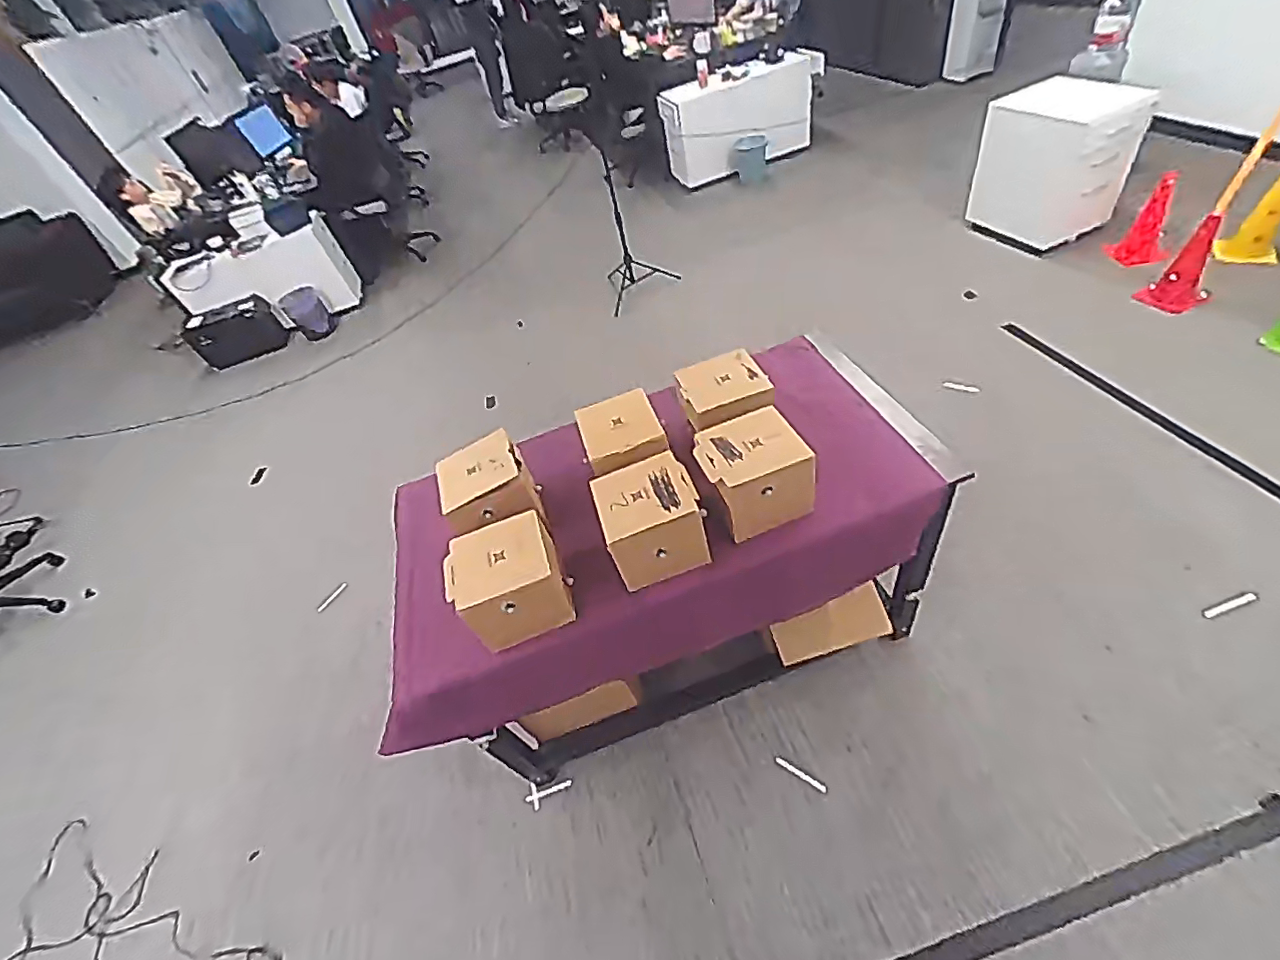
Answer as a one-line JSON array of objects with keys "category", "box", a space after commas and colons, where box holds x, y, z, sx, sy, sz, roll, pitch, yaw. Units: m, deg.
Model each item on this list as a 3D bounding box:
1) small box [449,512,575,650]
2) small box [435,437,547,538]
[{"category": "small box", "box": [-0.243, 0.197, 1.031, 0.179, 0.176, 0.168, -21, 47, -4]}, {"category": "small box", "box": [-0.328, 0.041, 1.195, 0.179, 0.176, 0.168, -23, 47, -5]}]
